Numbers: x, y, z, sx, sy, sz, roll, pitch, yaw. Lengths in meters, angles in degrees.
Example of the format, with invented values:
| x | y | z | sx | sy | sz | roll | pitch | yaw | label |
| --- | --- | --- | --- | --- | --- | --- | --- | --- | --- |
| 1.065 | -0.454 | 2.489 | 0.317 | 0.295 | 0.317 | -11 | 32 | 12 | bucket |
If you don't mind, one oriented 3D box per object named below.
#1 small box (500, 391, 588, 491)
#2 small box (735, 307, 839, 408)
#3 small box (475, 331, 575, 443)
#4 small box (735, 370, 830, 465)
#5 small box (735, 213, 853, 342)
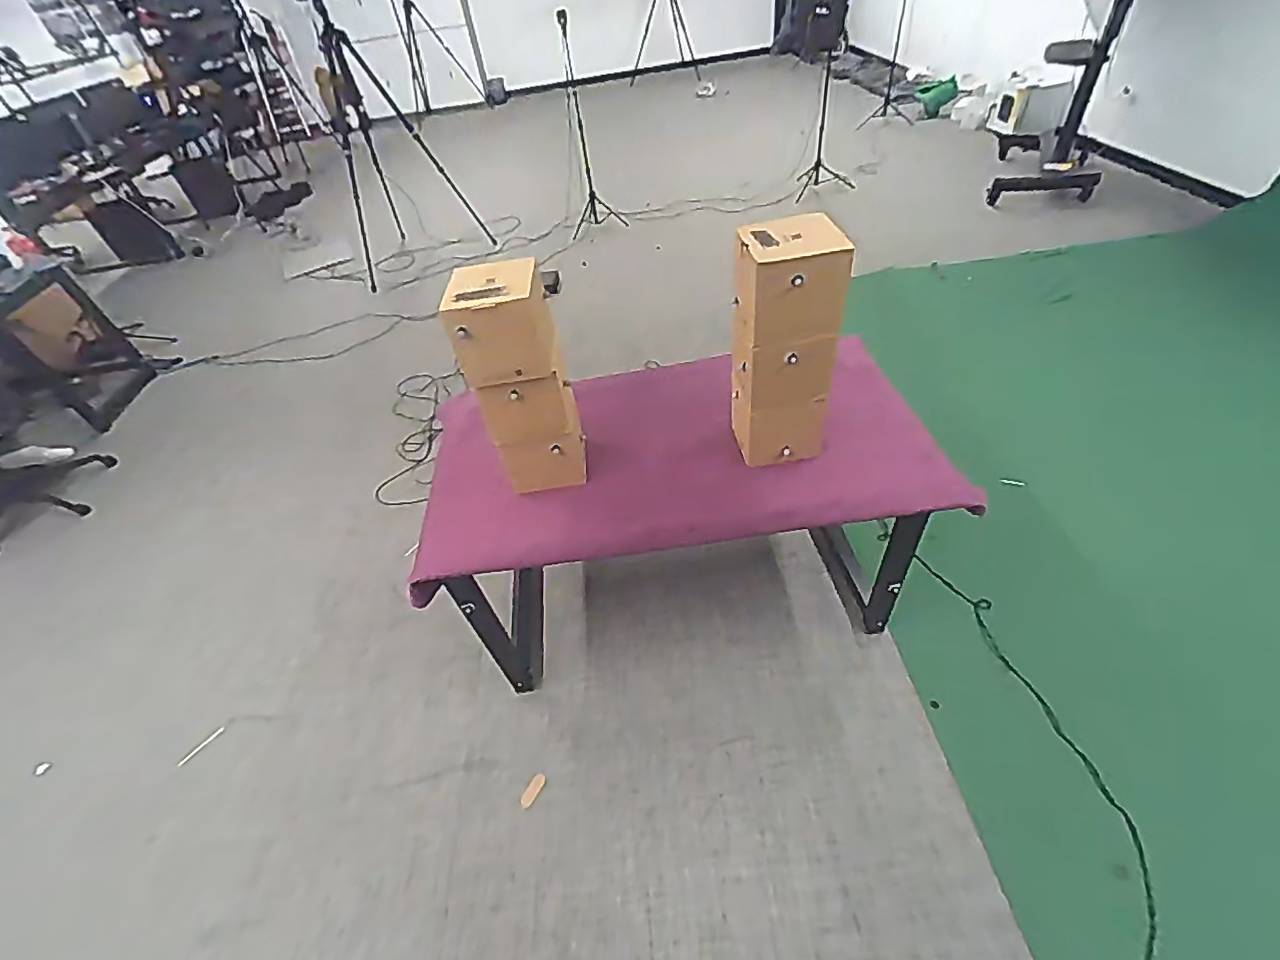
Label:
| x | y | z | sx | sy | sz | roll | pitch | yaw | label |
| --- | --- | --- | --- | --- | --- | --- | --- | --- | --- |
| -0.223 | -0.093 | 1.312 | 0.179 | 0.176 | 0.168 | -8 | 45 | 2 | small box |
| 0.307 | -0.272 | 1.162 | 0.179 | 0.176 | 0.168 | -9 | 46 | 2 | small box |
| -0.243 | -0.202 | 1.195 | 0.179 | 0.176 | 0.168 | -9 | 46 | 2 | small box |
| 0.327 | -0.158 | 1.277 | 0.179 | 0.176 | 0.168 | -10 | 45 | 1 | small box |
| 0.288 | -0.386 | 1.046 | 0.179 | 0.176 | 0.168 | -10 | 47 | 1 | small box |
